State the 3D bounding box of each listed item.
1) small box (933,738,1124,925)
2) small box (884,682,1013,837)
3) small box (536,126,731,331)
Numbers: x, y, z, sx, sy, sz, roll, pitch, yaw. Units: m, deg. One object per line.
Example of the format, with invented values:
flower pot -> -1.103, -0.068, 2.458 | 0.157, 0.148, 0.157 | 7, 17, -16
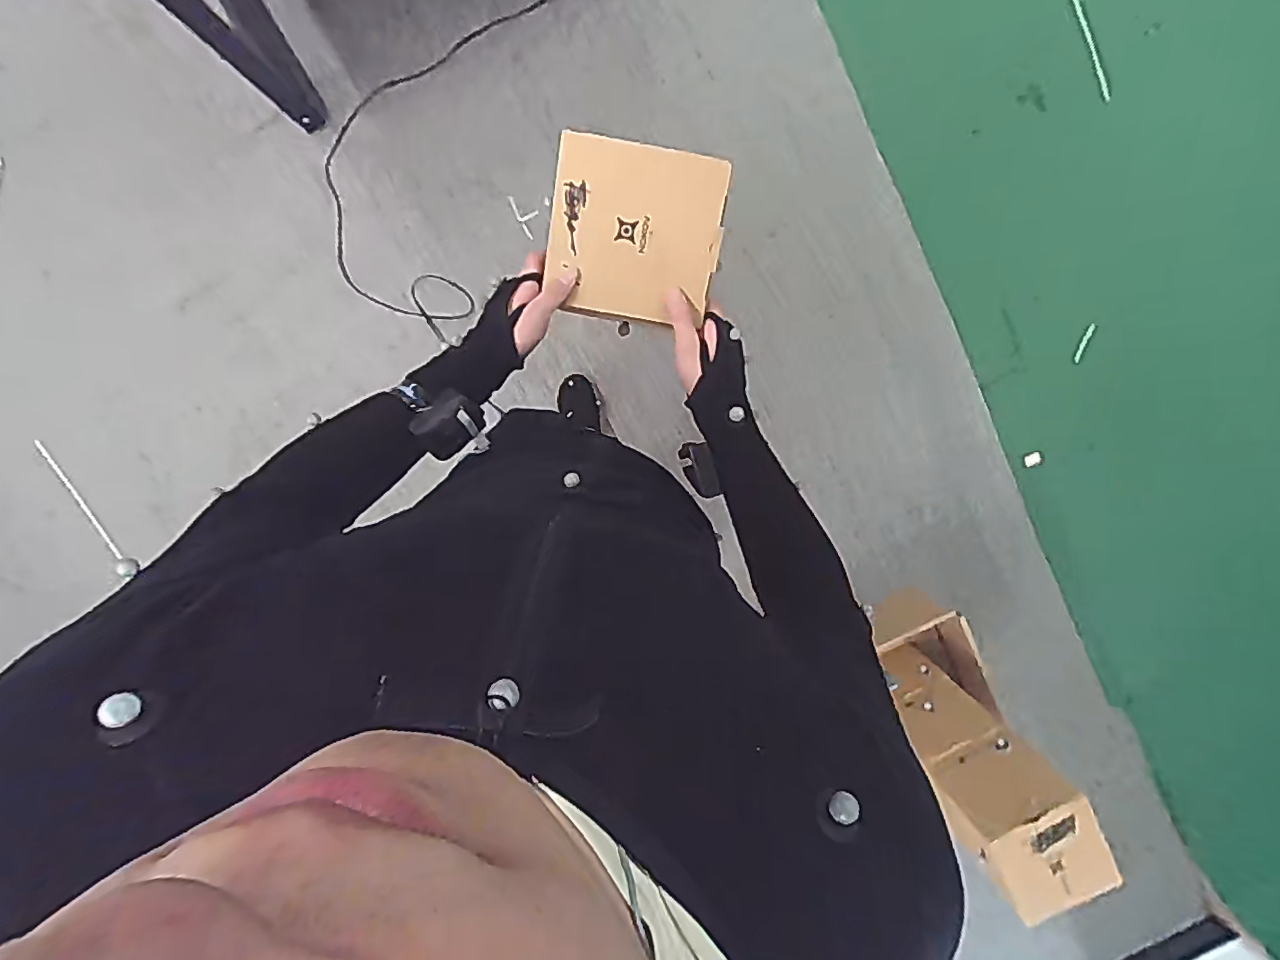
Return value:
small box -> 0.630, 0.565, 0.899 | 0.168, 0.176, 0.179 | -28, 99, 2
small box -> 0.616, 0.538, 1.060 | 0.168, 0.176, 0.179 | -27, 98, 1
small box -> -0.011, -0.270, 0.623 | 0.179, 0.176, 0.168 | 10, 103, -3
